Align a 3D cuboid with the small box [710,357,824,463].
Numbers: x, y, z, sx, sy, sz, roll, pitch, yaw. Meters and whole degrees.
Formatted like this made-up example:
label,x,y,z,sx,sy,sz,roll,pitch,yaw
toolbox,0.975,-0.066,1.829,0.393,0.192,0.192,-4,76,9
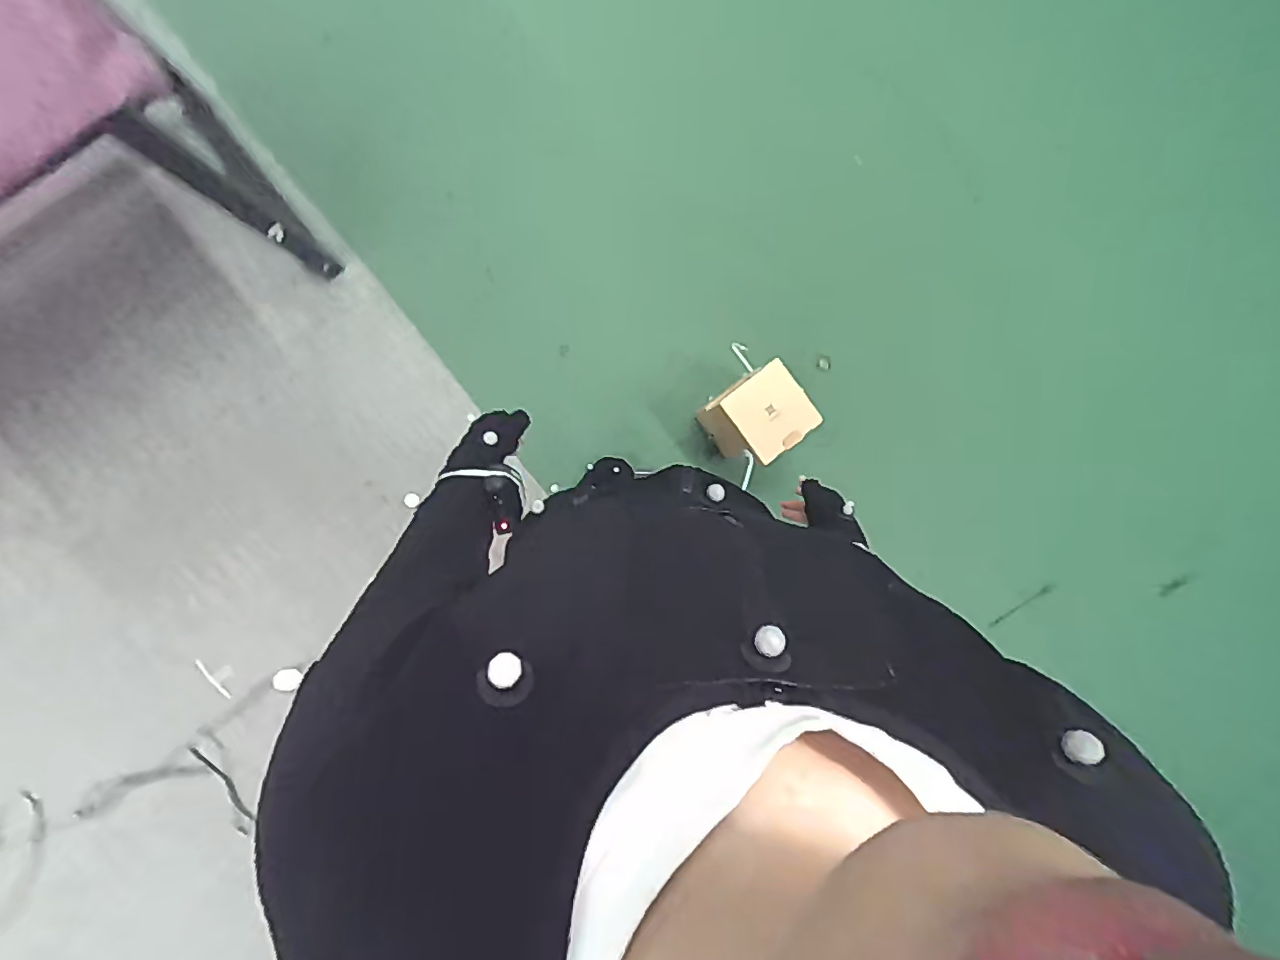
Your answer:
label,x,y,z,sx,sy,sz,roll,pitch,yaw
small box,0.282,-0.153,1.248,0.168,0.176,0.179,-37,95,-1
